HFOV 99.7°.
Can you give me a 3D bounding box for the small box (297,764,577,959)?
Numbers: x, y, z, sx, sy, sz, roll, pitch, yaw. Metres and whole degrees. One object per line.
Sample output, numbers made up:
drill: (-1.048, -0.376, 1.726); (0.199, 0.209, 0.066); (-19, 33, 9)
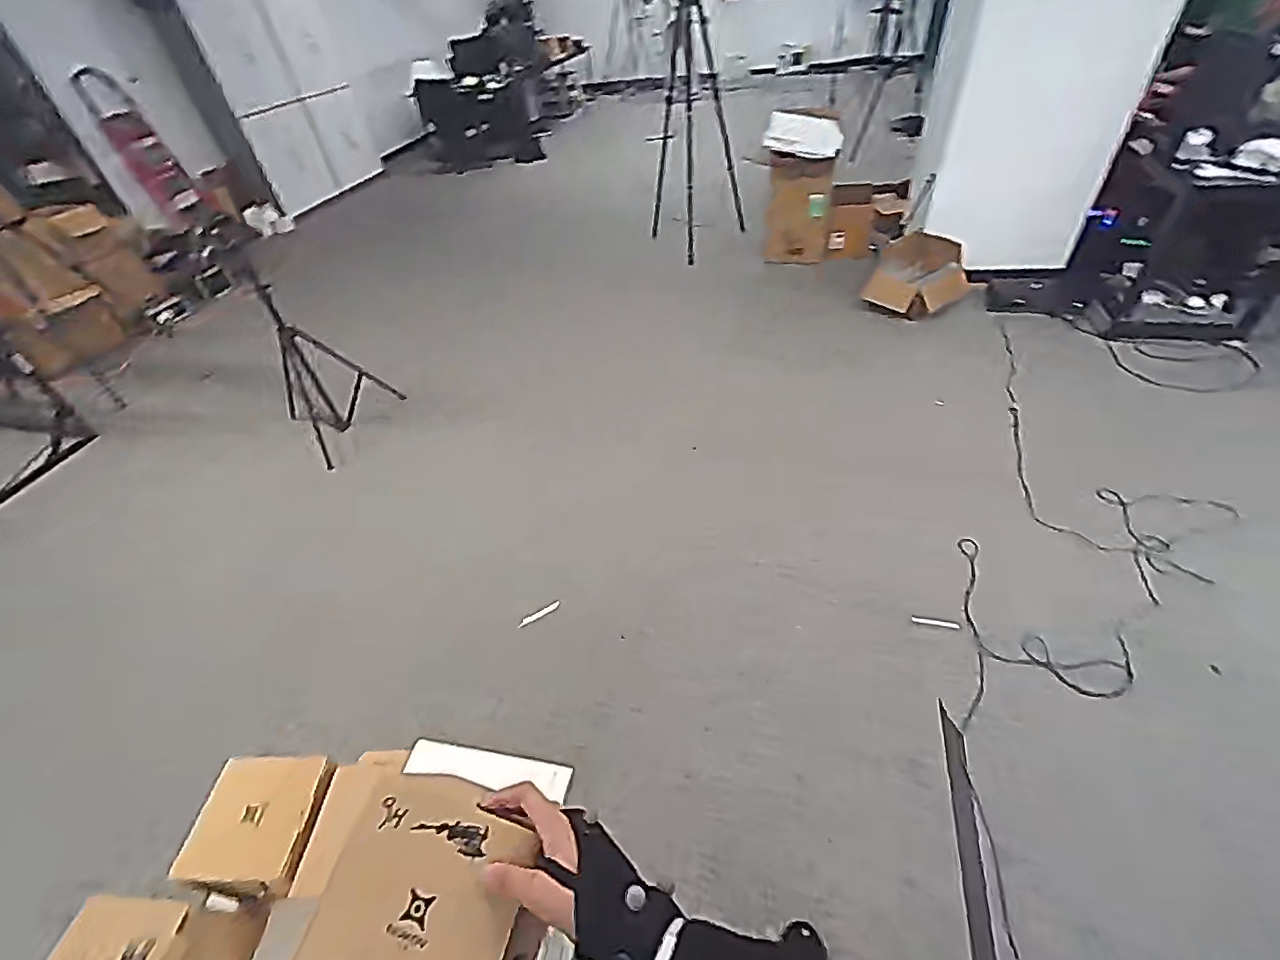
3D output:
small box: (-0.172, 0.393, 0.515); (0.168, 0.176, 0.179); (15, 64, 13)
